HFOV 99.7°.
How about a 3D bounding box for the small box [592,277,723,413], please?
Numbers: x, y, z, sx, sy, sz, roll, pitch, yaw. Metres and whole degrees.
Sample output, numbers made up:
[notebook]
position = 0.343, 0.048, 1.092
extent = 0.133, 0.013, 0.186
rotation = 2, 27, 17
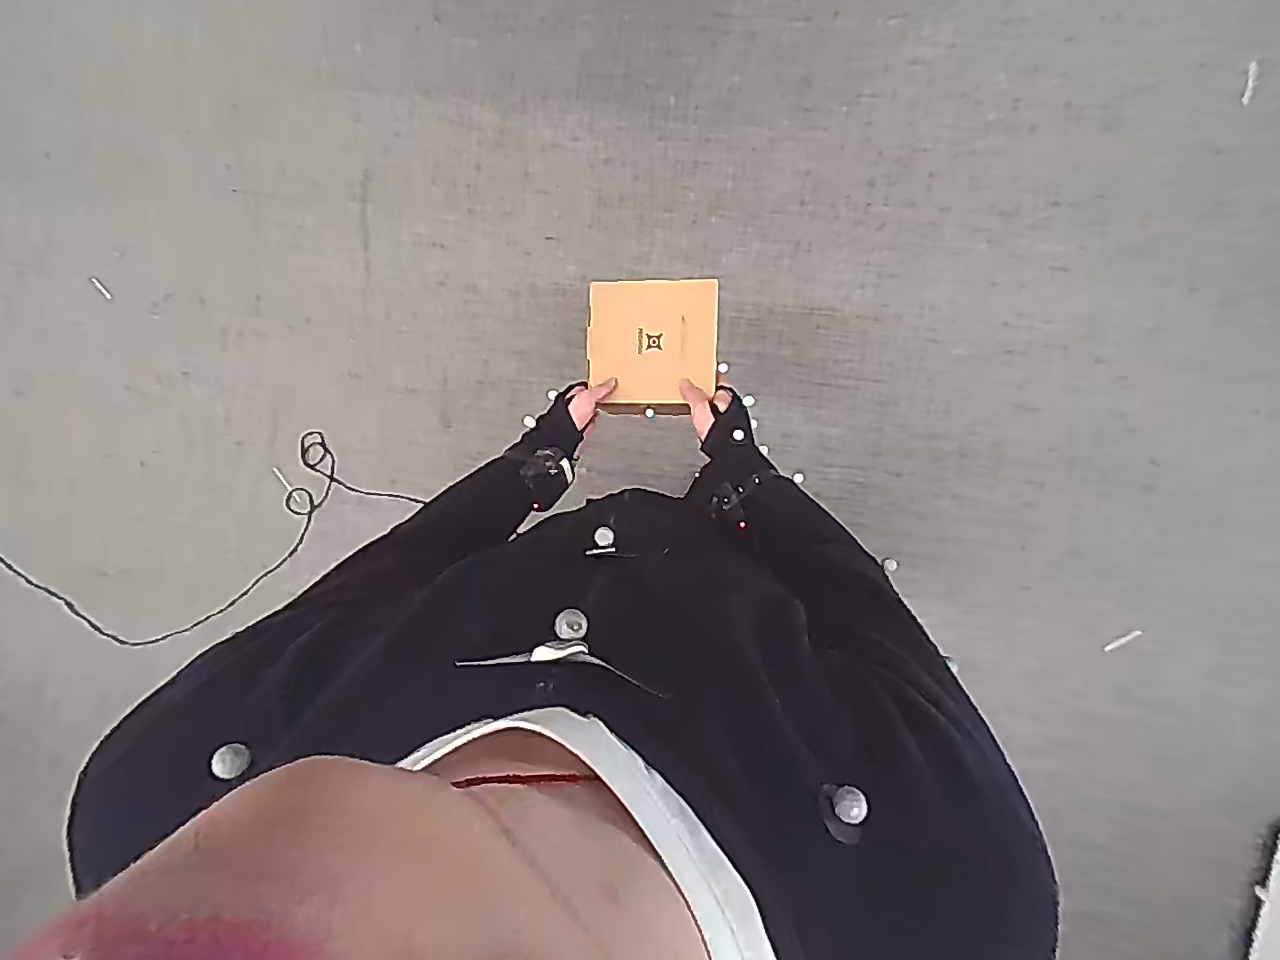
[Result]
[small box]
position = 0.032, -0.189, 0.801
extent = 0.179, 0.176, 0.168
rotation = 1, 92, 6
